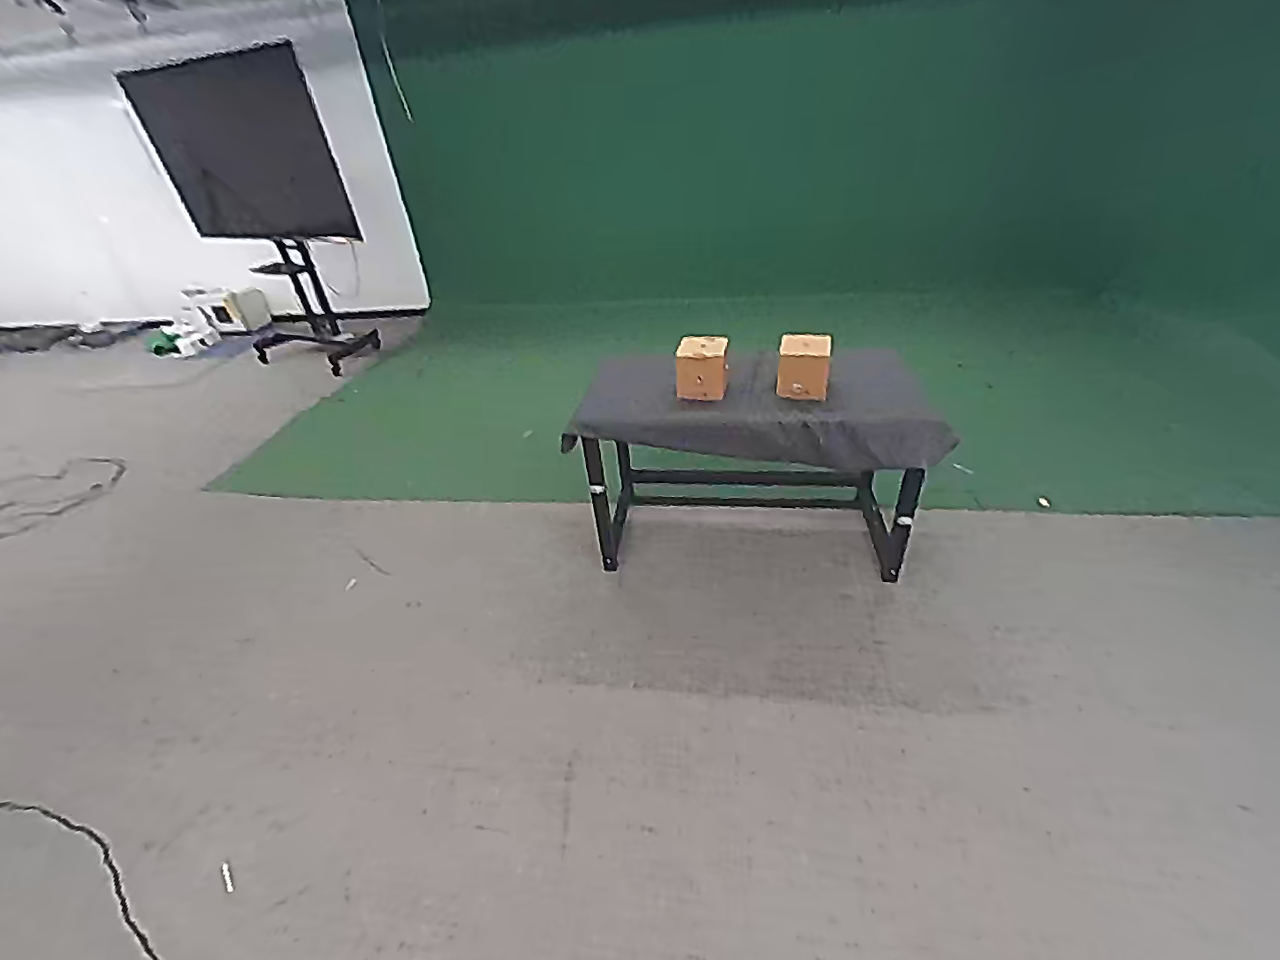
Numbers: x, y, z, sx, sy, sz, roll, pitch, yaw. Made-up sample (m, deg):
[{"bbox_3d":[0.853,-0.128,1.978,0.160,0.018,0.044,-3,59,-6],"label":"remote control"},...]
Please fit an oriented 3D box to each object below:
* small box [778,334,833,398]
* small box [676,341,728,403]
[{"bbox_3d":[0.578,-0.403,1.896,0.168,0.176,0.179,5,36,19],"label":"small box"},{"bbox_3d":[0.231,-0.390,1.964,0.168,0.176,0.179,2,34,13],"label":"small box"}]
